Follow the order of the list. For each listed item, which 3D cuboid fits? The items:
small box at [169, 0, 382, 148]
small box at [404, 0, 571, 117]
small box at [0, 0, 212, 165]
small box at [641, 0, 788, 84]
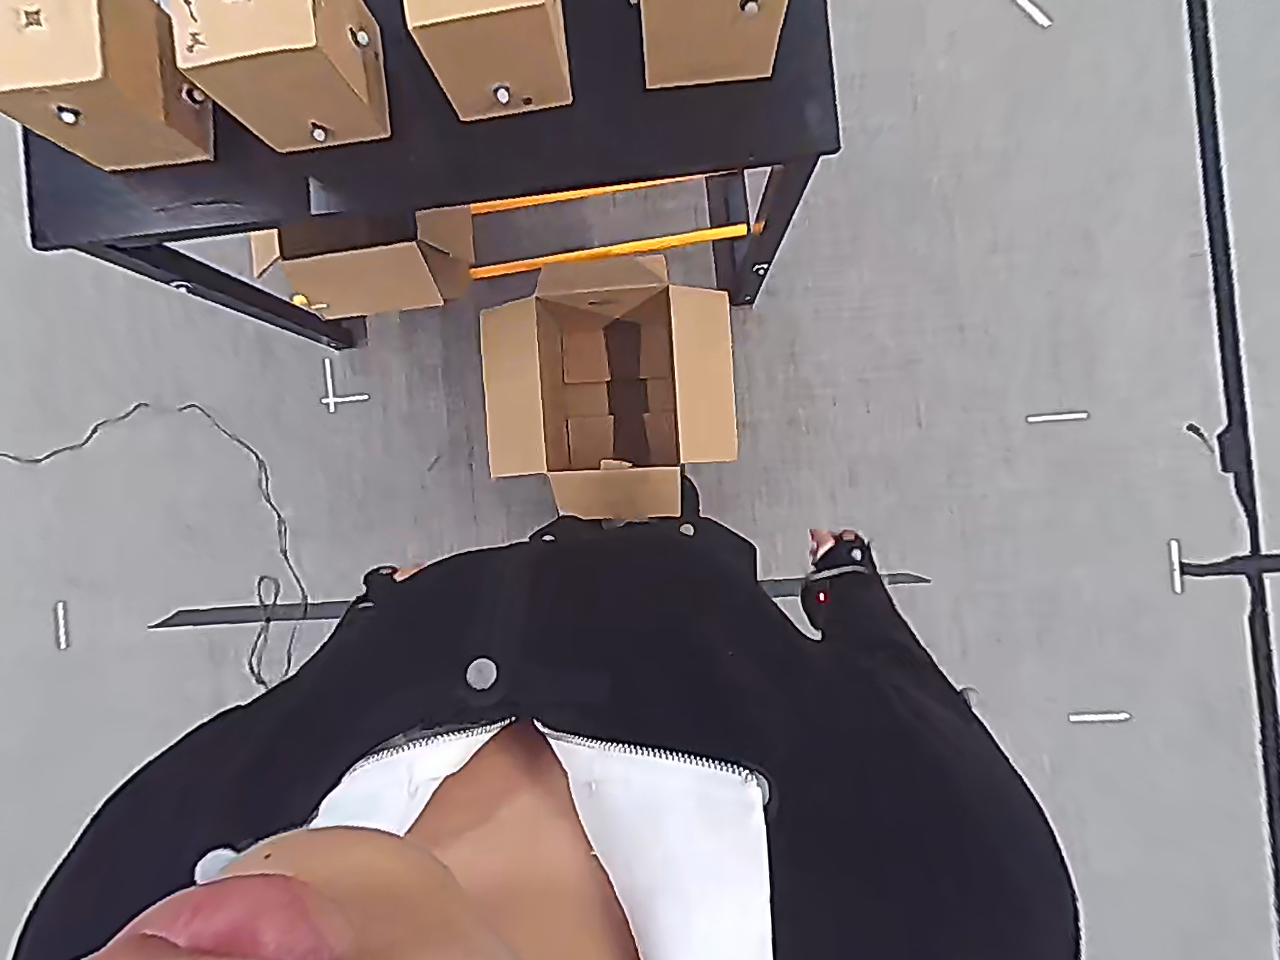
[{"bbox_3d":[-0.458,-0.569,0.703,0.179,0.176,0.168,-7,89,2],"label":"small box"},{"bbox_3d":[-0.190,-0.611,0.688,0.168,0.176,0.179,-7,90,3],"label":"small box"},{"bbox_3d":[-0.720,-0.546,0.716,0.179,0.176,0.168,-3,90,2],"label":"small box"},{"bbox_3d":[0.088,-0.636,0.671,0.179,0.176,0.168,-4,88,3],"label":"small box"}]
